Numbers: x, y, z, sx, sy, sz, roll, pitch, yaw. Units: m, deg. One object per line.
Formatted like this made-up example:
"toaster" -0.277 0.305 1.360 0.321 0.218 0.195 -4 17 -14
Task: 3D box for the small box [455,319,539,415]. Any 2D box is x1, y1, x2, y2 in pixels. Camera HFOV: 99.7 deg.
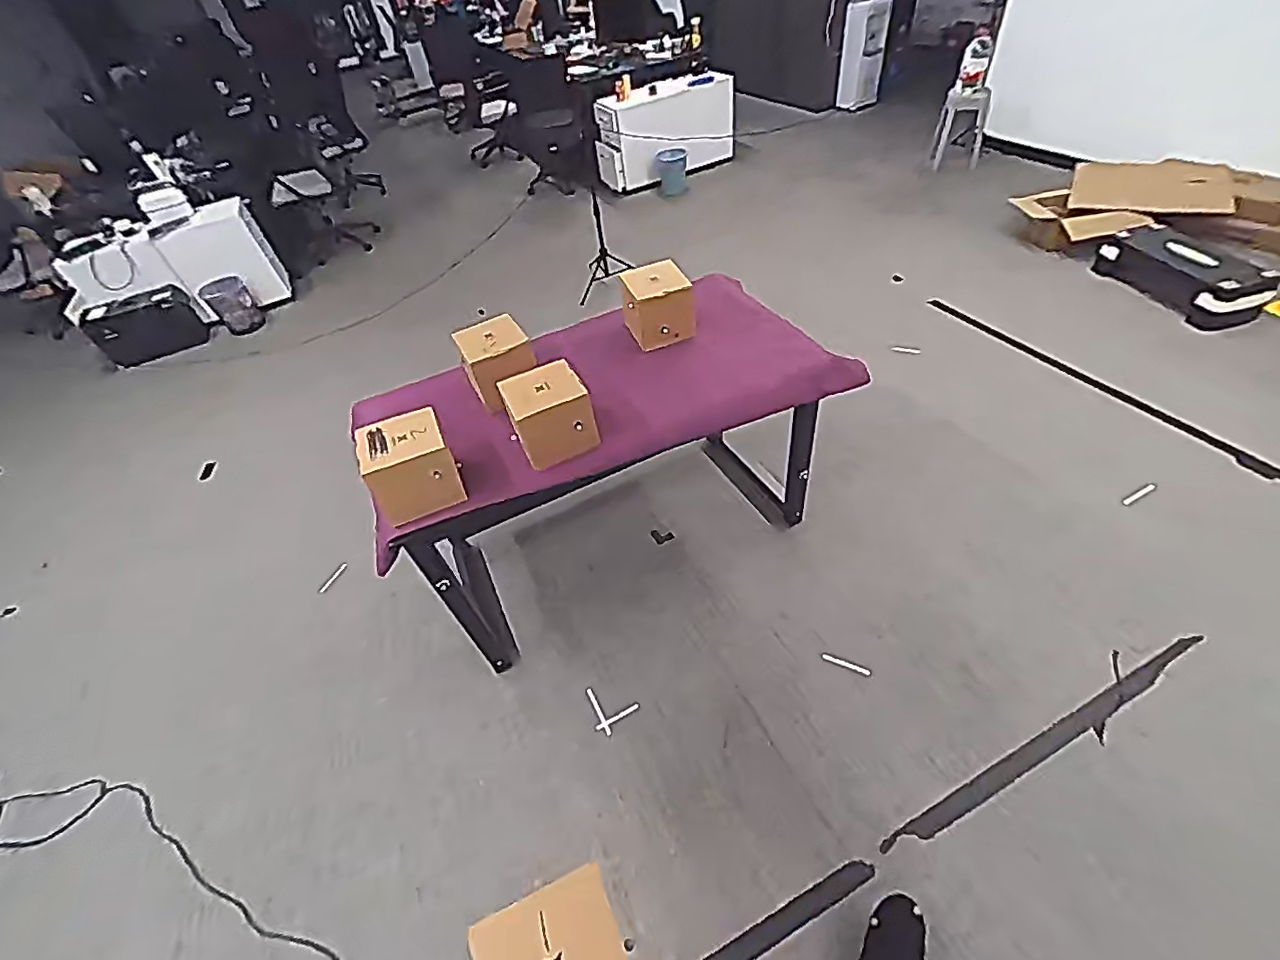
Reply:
"small box" -0.383 -0.309 1.485 0.168 0.176 0.179 -26 49 -15

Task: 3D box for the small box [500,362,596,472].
"small box" -0.214 -0.150 1.304 0.179 0.176 0.168 -23 47 -13

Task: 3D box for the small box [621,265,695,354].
"small box" 0.053 -0.501 1.594 0.168 0.176 0.179 -19 48 -8

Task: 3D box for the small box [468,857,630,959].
"small box" -0.102 0.613 0.678 0.168 0.176 0.179 -17 54 -20
